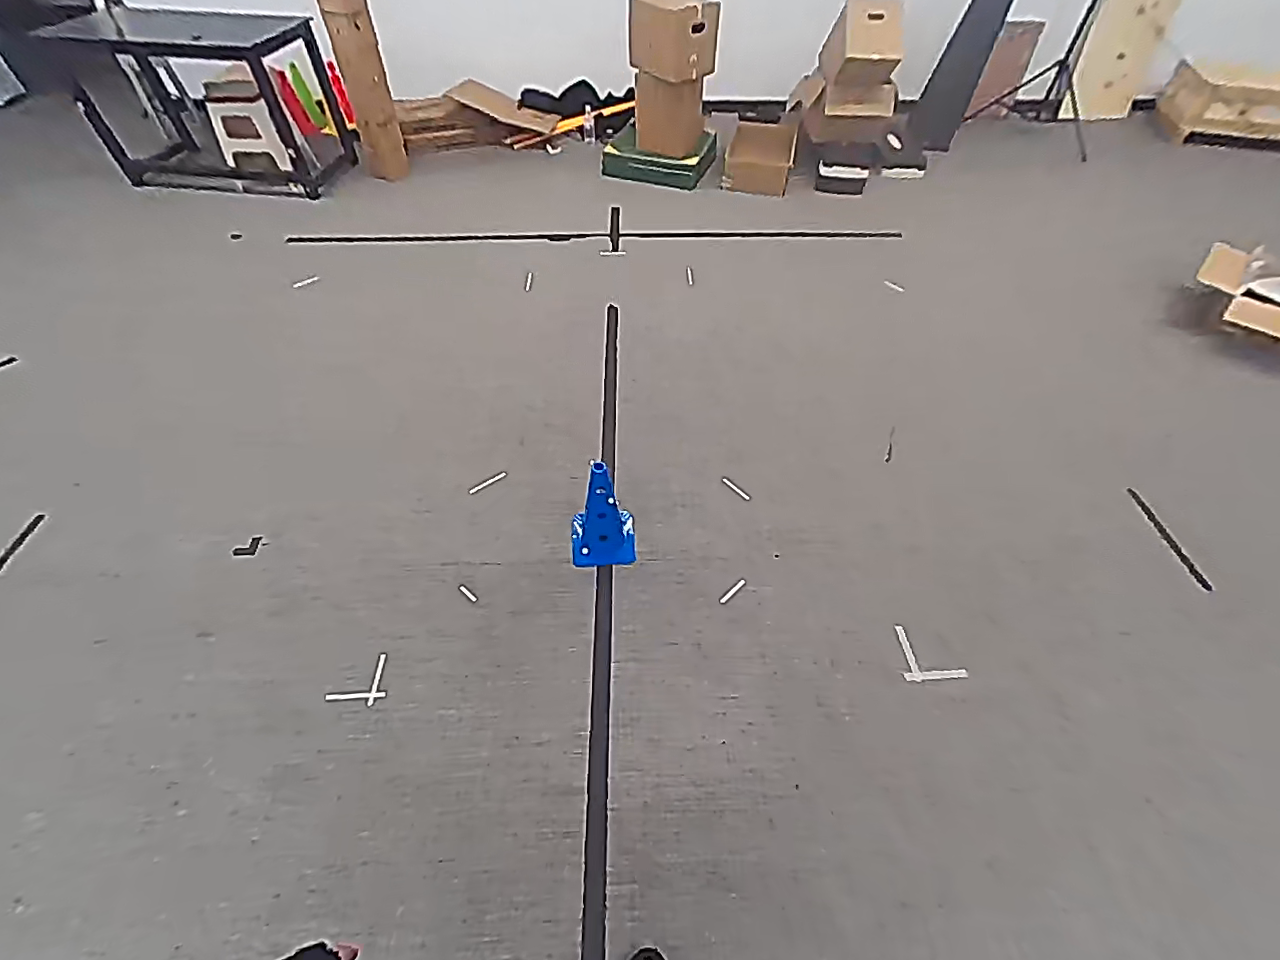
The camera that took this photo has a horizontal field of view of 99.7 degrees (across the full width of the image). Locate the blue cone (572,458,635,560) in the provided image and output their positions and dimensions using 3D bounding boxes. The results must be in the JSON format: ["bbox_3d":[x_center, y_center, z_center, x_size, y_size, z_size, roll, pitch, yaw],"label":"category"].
[{"bbox_3d":[-0.113,0.063,1.586,0.192,0.380,0.193,-4,53,-5],"label":"blue cone"}]
